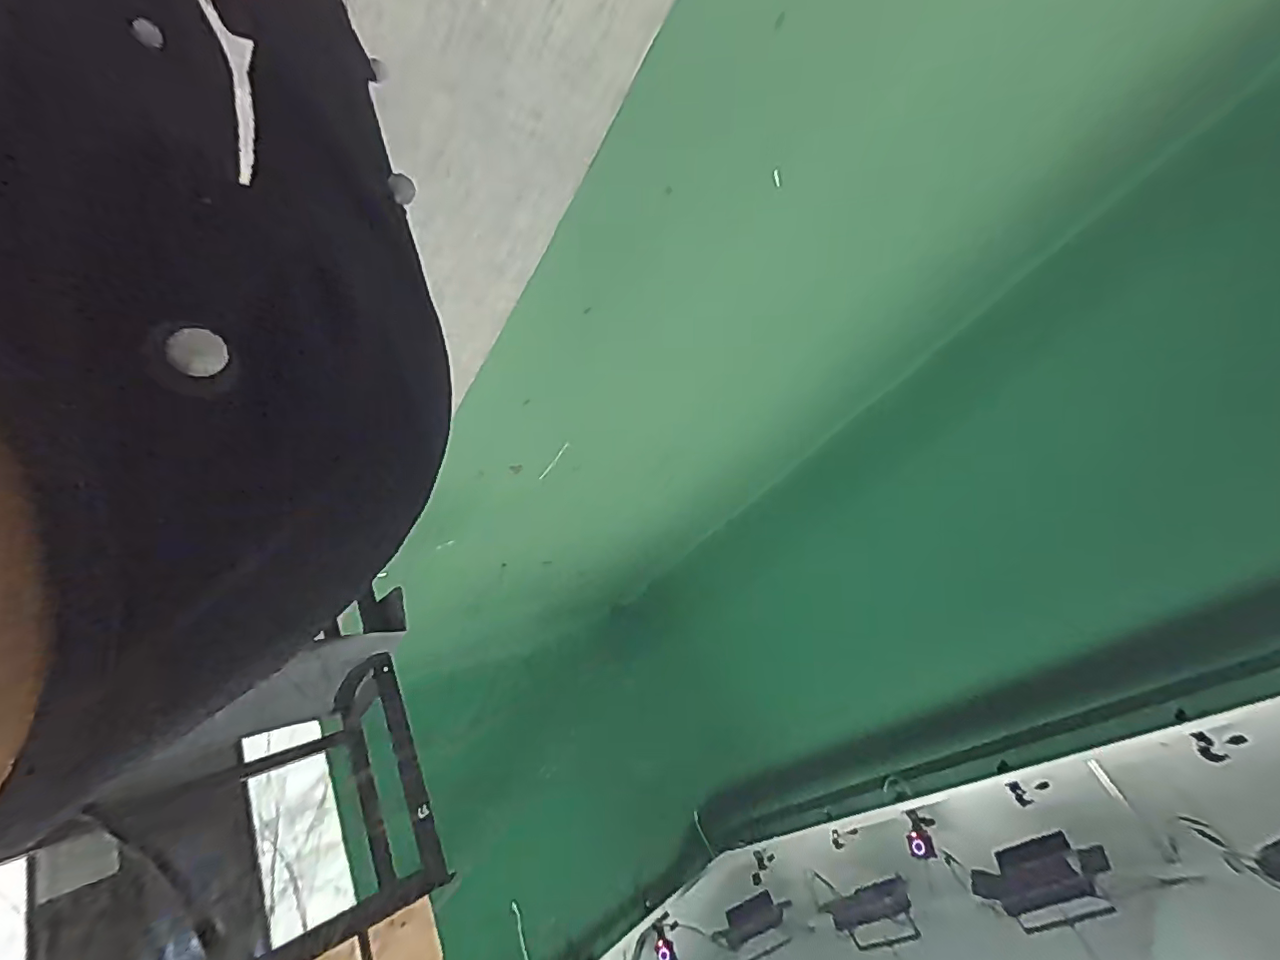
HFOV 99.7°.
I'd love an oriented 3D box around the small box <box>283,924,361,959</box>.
[{"bbox_3d":[-0.839,1.305,1.412,0.168,0.176,0.179,-3,146,-45],"label":"small box"}]
